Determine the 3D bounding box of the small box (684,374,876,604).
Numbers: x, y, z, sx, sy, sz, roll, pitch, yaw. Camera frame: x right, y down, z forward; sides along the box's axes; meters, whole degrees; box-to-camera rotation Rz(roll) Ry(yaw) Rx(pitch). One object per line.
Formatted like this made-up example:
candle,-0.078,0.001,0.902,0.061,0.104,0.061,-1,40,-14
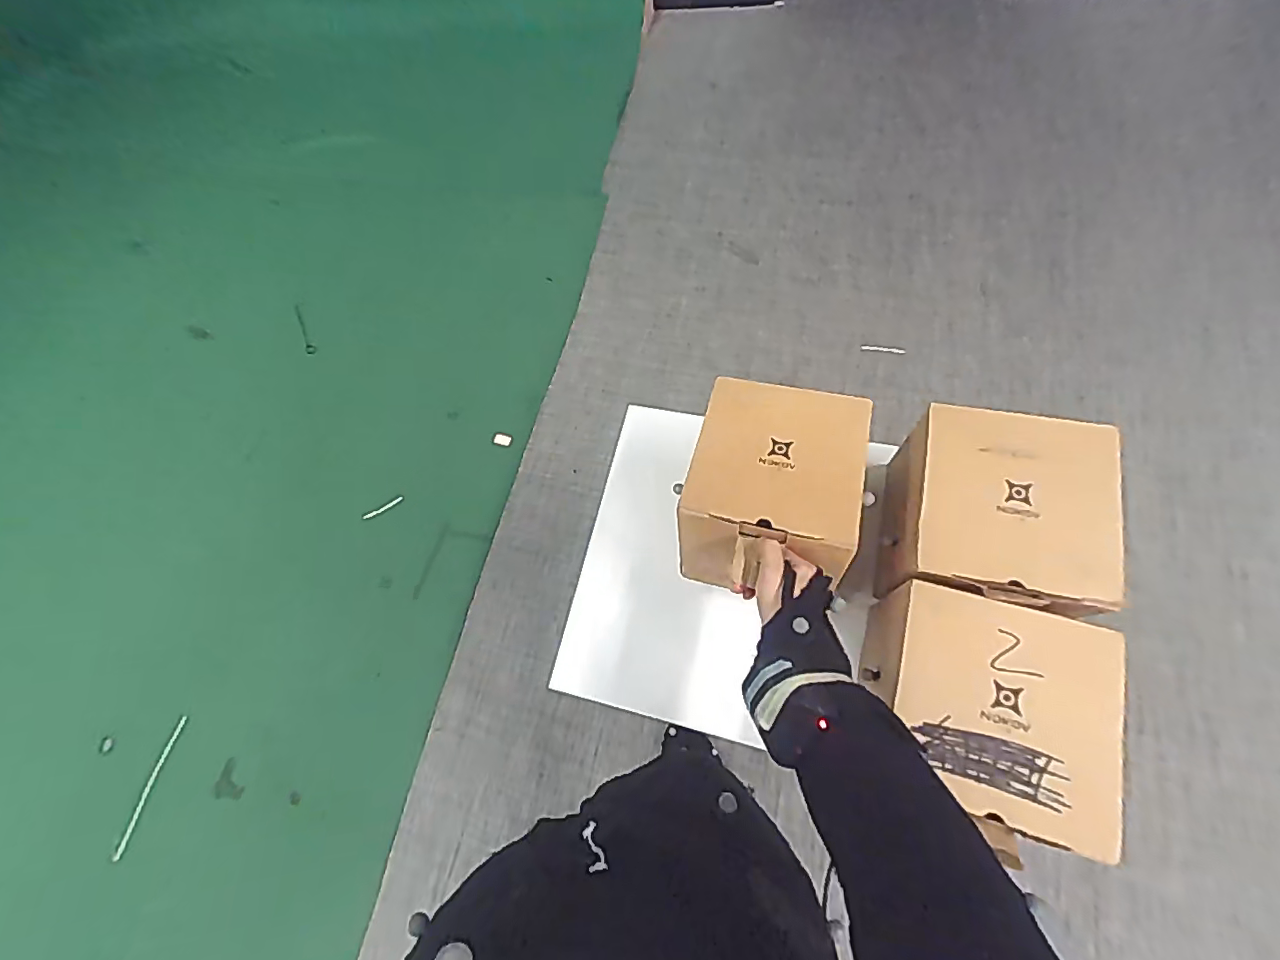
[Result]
small box,0.149,0.013,0.601,0.168,0.176,0.179,12,60,14
